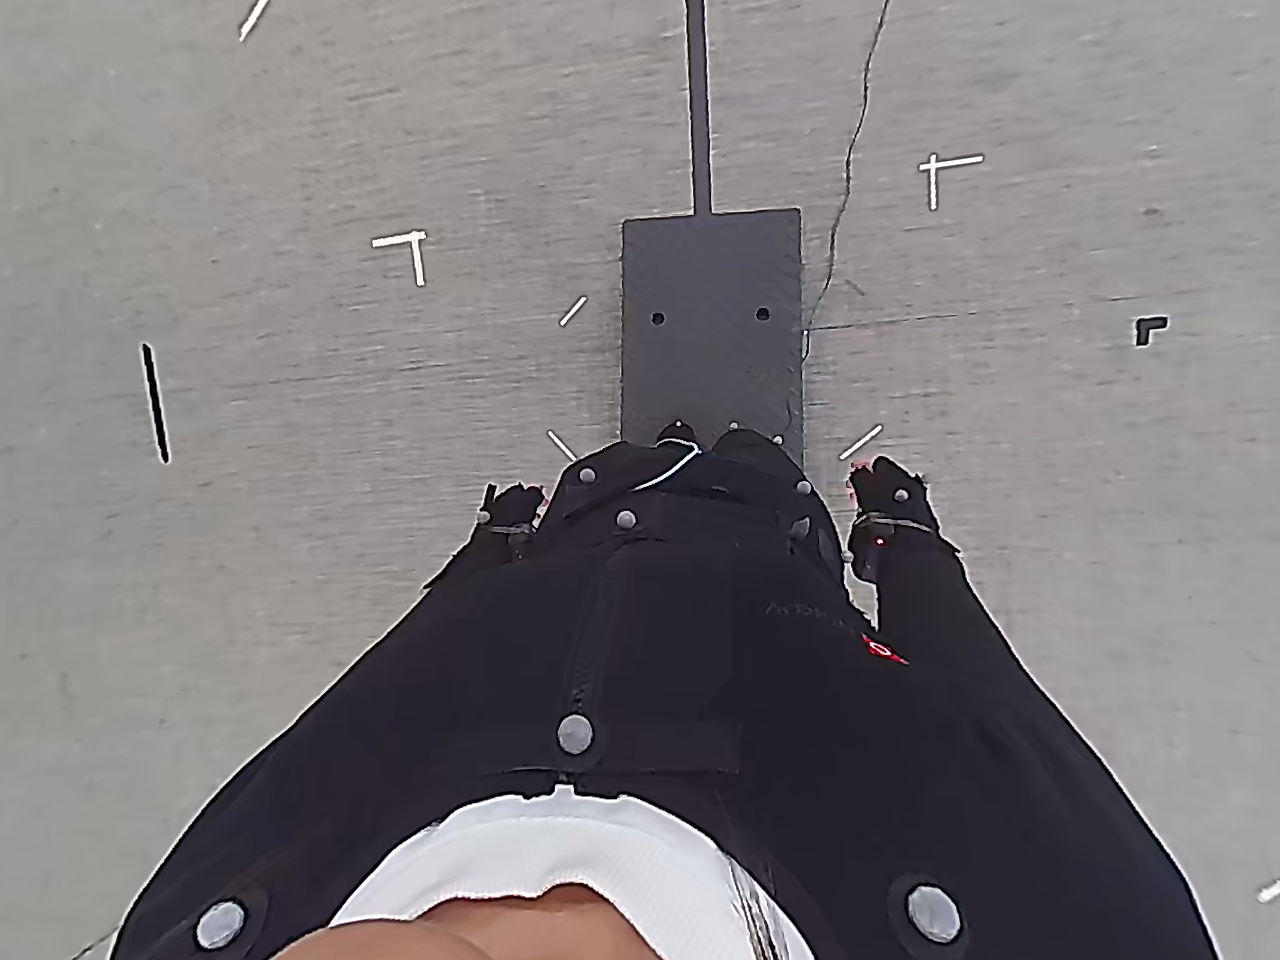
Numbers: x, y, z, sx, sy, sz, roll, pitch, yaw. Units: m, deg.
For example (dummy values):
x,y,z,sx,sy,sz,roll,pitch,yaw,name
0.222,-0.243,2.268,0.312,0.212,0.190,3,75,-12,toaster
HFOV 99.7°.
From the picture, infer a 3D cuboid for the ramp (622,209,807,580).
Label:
x,y,z,sx,sy,sz,roll,pitch,yaw,name
0.191,-0.236,1.465,0.509,0.206,0.991,-2,95,9,ramp
